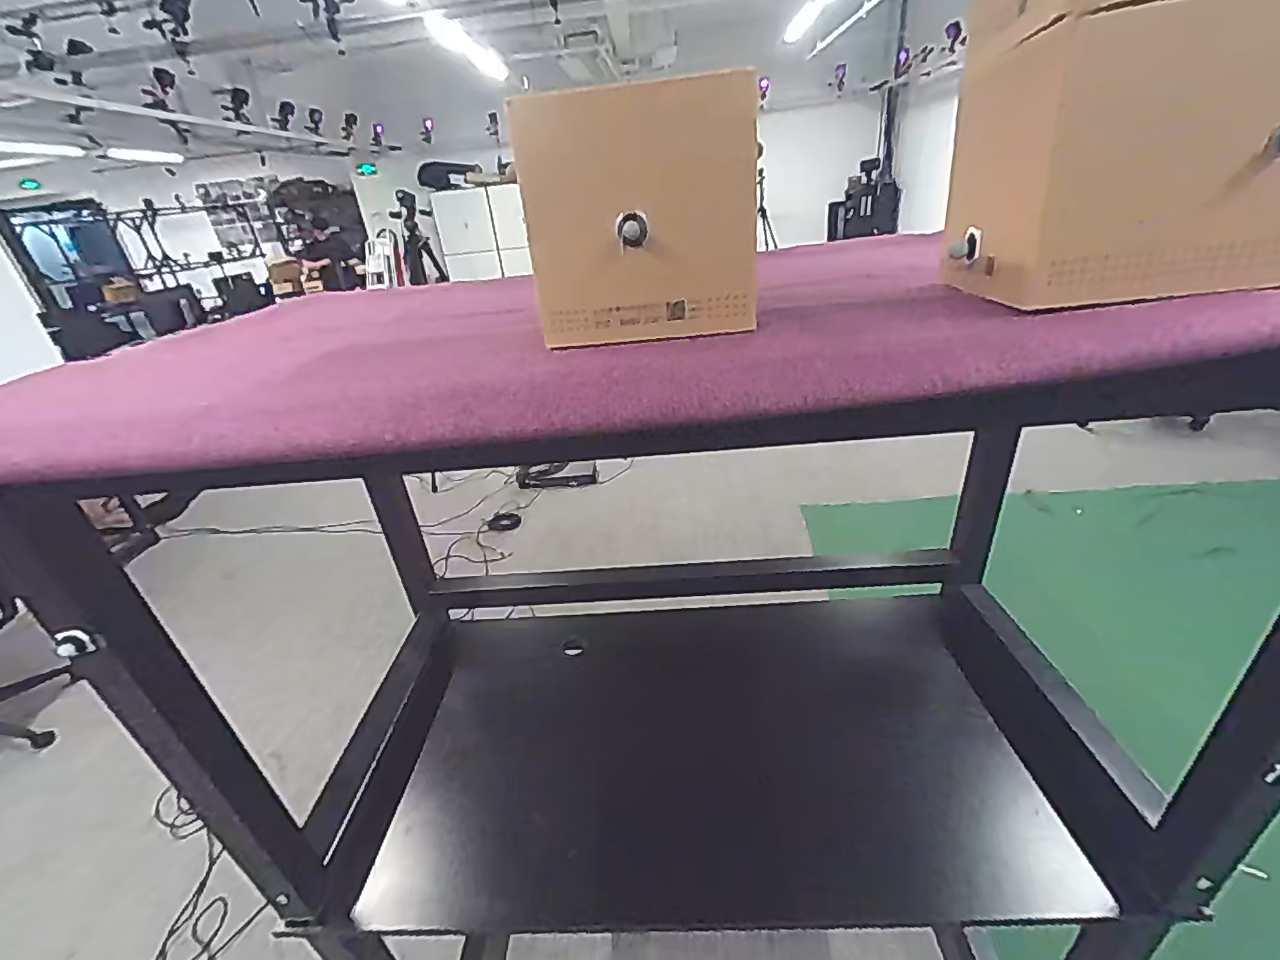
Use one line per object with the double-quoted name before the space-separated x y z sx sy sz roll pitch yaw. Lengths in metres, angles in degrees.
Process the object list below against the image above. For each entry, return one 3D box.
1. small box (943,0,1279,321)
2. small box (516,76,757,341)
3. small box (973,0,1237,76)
"small box" 0.353 -0.224 0.403 0.179 0.176 0.168 -4 25 10
"small box" 0.008 -0.219 0.464 0.168 0.176 0.179 -3 27 4
"small box" 0.333 -0.372 0.340 0.179 0.176 0.168 -1 25 12
